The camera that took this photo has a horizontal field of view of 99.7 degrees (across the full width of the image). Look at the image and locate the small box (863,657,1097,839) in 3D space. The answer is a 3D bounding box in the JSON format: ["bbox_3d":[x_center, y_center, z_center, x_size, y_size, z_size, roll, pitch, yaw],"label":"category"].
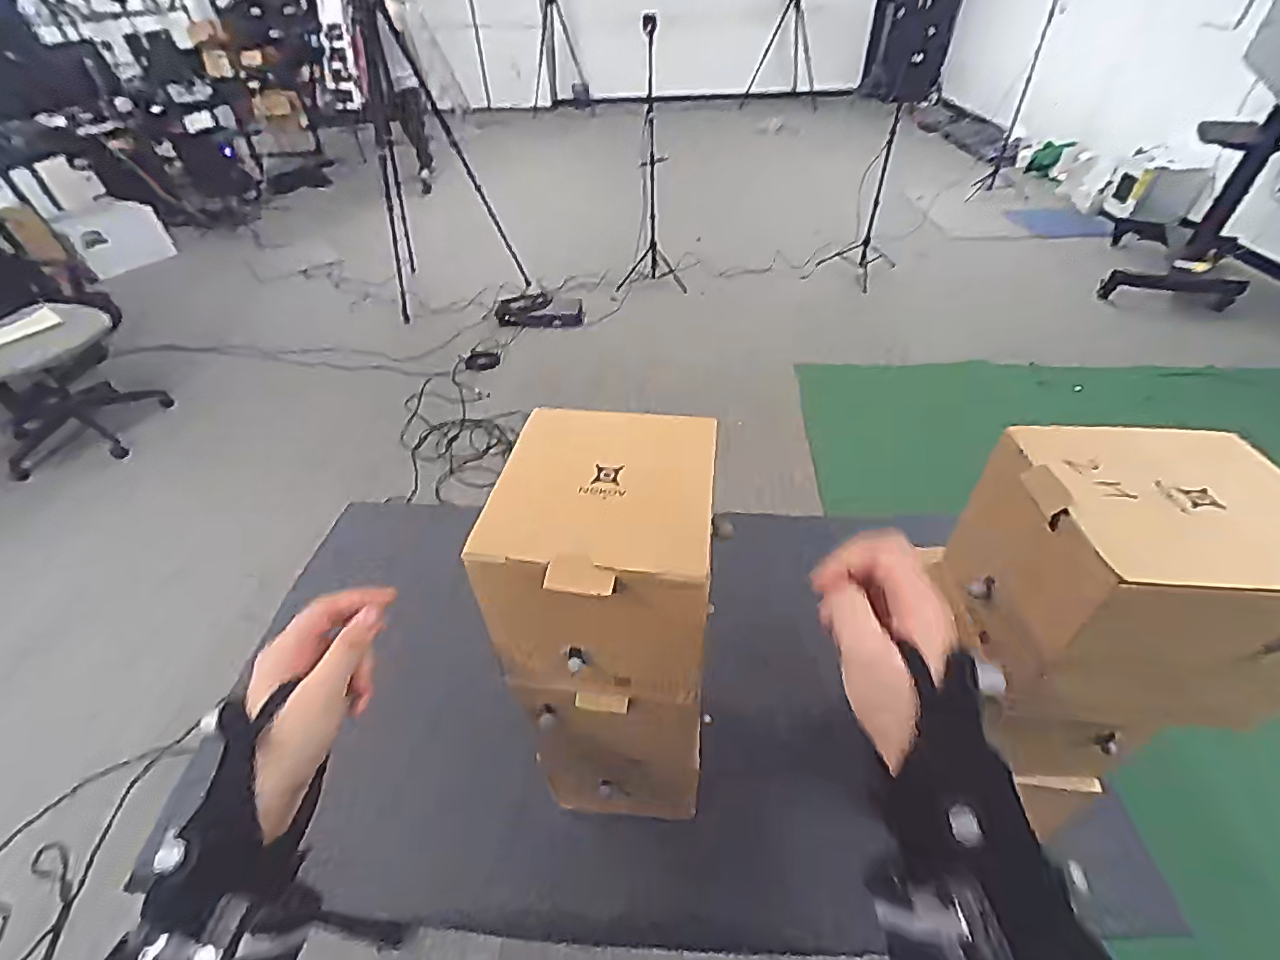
[{"bbox_3d":[0.382,0.299,0.653,0.168,0.176,0.179,3,42,8],"label":"small box"}]

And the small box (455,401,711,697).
[{"bbox_3d":[-0.031,0.055,0.460,0.168,0.176,0.179,4,43,7],"label":"small box"}]

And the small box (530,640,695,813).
[{"bbox_3d":[-0.021,0.299,0.679,0.179,0.176,0.168,1,43,5],"label":"small box"}]

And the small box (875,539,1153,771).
[{"bbox_3d":[0.365,0.176,0.547,0.179,0.176,0.168,-2,40,3],"label":"small box"}]

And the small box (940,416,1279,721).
[{"bbox_3d":[0.371,0.068,0.420,0.179,0.176,0.168,2,40,6],"label":"small box"}]
